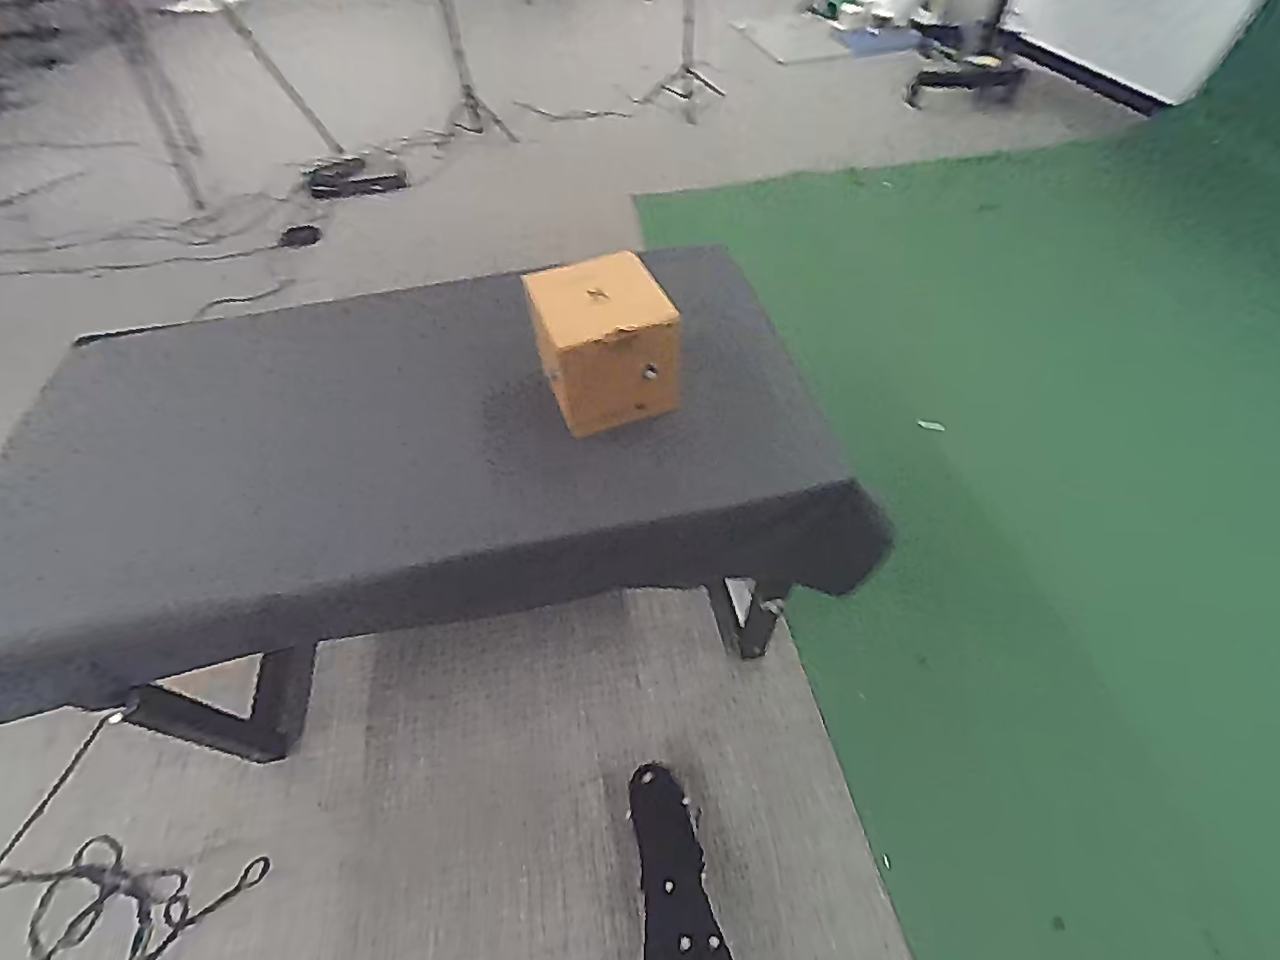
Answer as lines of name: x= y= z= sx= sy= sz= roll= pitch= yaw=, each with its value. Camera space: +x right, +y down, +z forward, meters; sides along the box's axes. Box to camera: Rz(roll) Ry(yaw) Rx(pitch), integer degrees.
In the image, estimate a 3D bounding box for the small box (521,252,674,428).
small box: x=-0.058 y=-0.196 z=0.784 sx=0.168 sy=0.176 sz=0.179 roll=-19 pitch=53 yaw=-13
